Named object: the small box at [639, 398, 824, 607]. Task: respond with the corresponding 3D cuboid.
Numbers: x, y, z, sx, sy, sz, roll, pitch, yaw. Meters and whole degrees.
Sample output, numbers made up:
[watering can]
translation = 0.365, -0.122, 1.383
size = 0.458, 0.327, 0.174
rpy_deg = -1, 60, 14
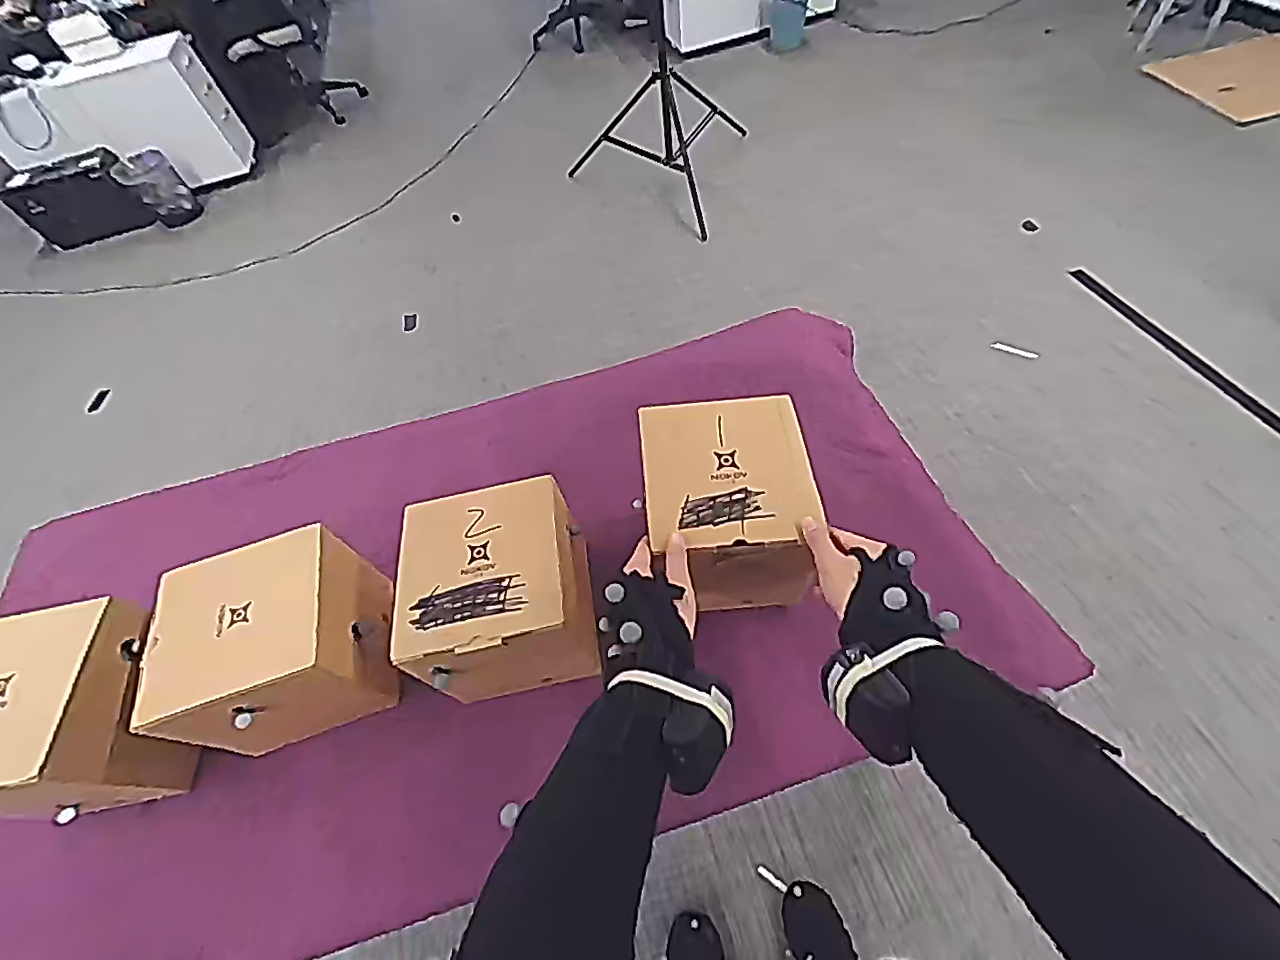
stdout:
[small box]
translation = 0.090, 0.034, 0.607
size = 0.168, 0.176, 0.179
rpy_deg = -5, 56, 0
